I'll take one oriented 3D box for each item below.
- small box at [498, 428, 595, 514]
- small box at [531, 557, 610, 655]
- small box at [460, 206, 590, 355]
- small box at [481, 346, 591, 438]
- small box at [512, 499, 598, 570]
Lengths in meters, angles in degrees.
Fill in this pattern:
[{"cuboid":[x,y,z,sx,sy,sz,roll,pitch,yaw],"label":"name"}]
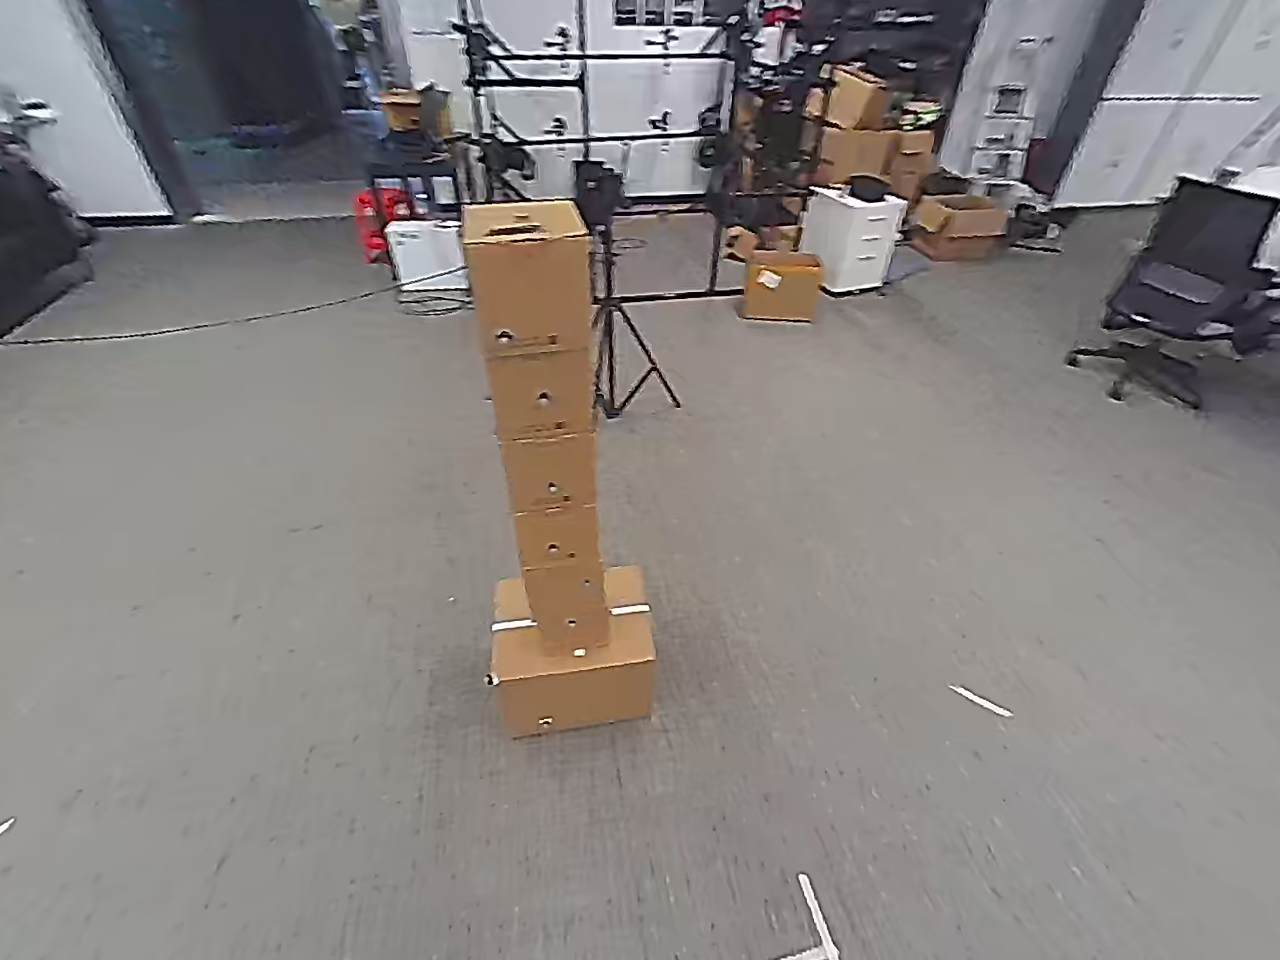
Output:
[{"cuboid":[-0.181,-0.059,1.049,0.168,0.176,0.179,-8,43,-9],"label":"small box"},{"cuboid":[-0.175,0.319,1.363,0.179,0.176,0.168,-7,42,-10],"label":"small box"},{"cuboid":[-0.173,-0.302,0.828,0.168,0.176,0.179,-8,42,-10],"label":"small box"},{"cuboid":[-0.180,-0.185,0.945,0.168,0.176,0.179,-8,43,-10],"label":"small box"},{"cuboid":[-0.182,0.067,1.155,0.168,0.176,0.179,-7,43,-9],"label":"small box"}]
